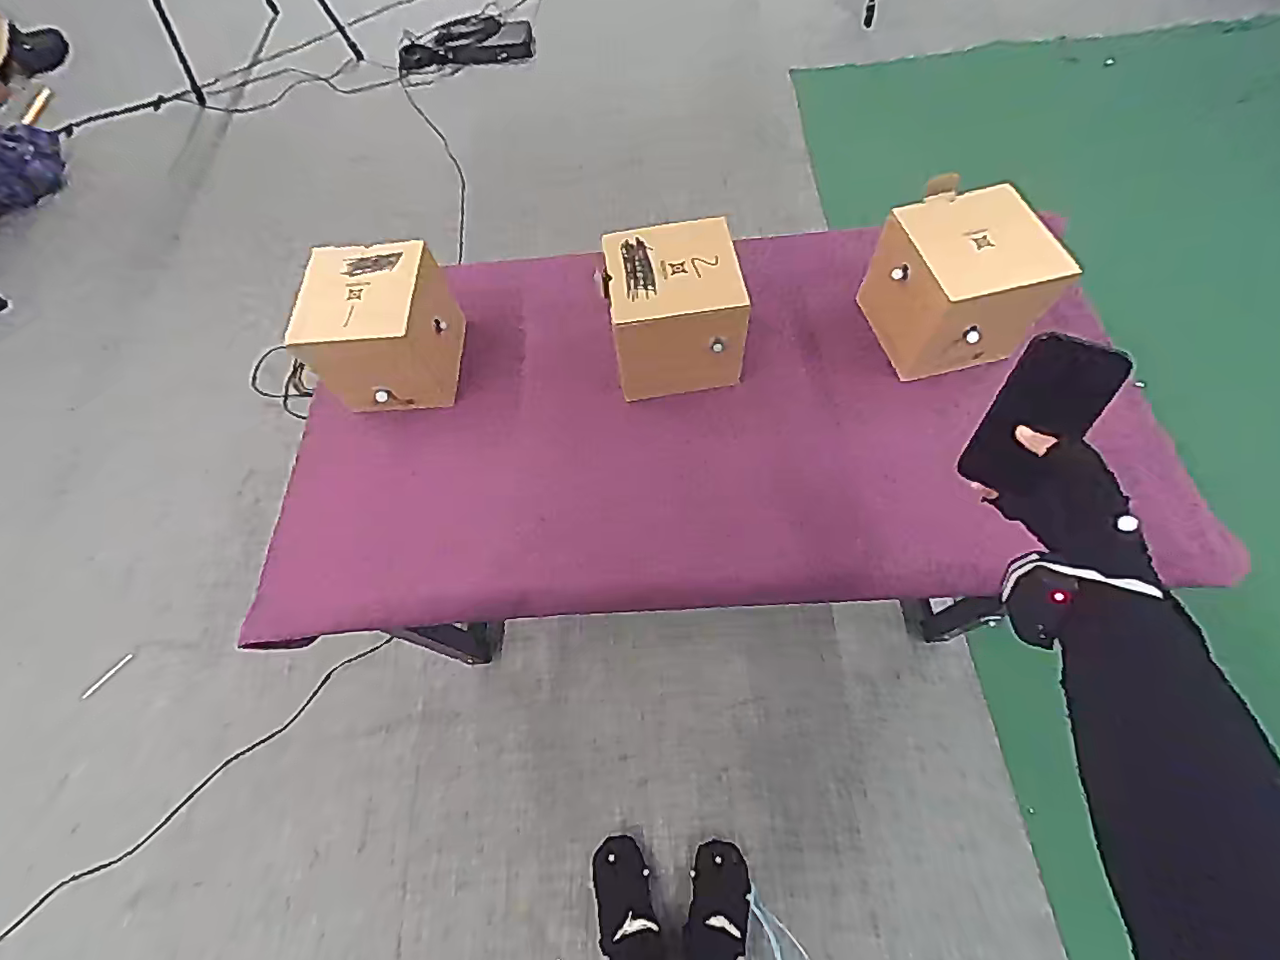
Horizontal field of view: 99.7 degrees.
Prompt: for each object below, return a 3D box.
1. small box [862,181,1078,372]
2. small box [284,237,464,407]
[{"bbox_3d":[0.437,-0.271,0.754,0.168,0.176,0.179,-13,63,-1],"label":"small box"},{"bbox_3d":[-0.374,-0.227,0.800,0.168,0.176,0.179,-3,66,4],"label":"small box"}]
